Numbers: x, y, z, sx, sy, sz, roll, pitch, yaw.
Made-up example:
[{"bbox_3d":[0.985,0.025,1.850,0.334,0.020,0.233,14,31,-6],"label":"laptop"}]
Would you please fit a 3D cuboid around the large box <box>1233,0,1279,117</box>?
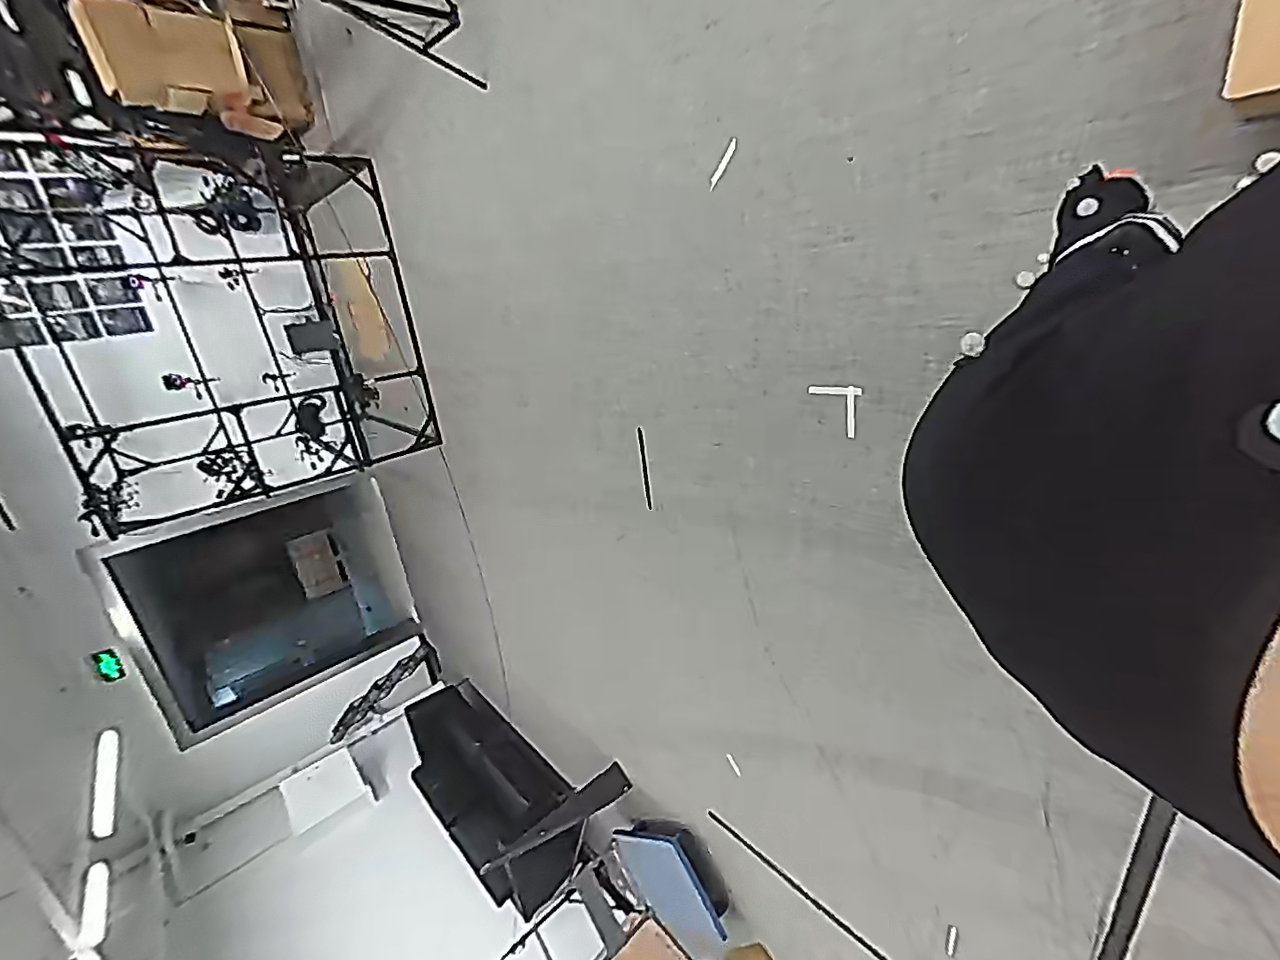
[{"bbox_3d":[1.030,-0.683,0.641,0.408,0.320,0.320,14,119,46],"label":"large box"}]
